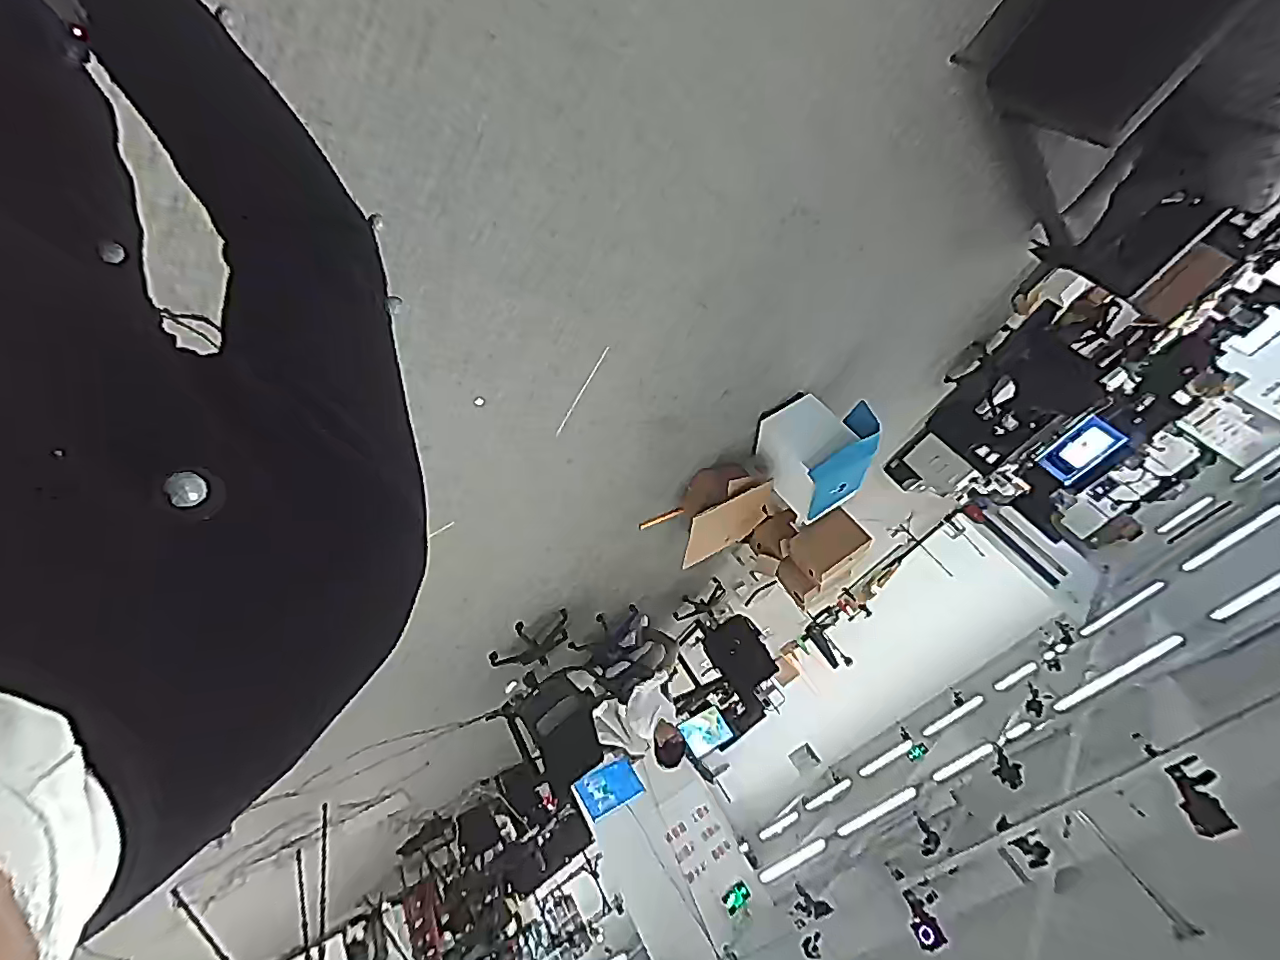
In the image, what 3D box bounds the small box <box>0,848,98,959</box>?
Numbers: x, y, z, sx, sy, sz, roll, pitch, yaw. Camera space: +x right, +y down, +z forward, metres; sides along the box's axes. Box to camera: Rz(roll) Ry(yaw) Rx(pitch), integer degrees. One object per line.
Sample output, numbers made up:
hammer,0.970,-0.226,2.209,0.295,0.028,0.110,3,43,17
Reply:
small box,-1.536,1.103,1.409,0.168,0.176,0.179,-3,138,-45
